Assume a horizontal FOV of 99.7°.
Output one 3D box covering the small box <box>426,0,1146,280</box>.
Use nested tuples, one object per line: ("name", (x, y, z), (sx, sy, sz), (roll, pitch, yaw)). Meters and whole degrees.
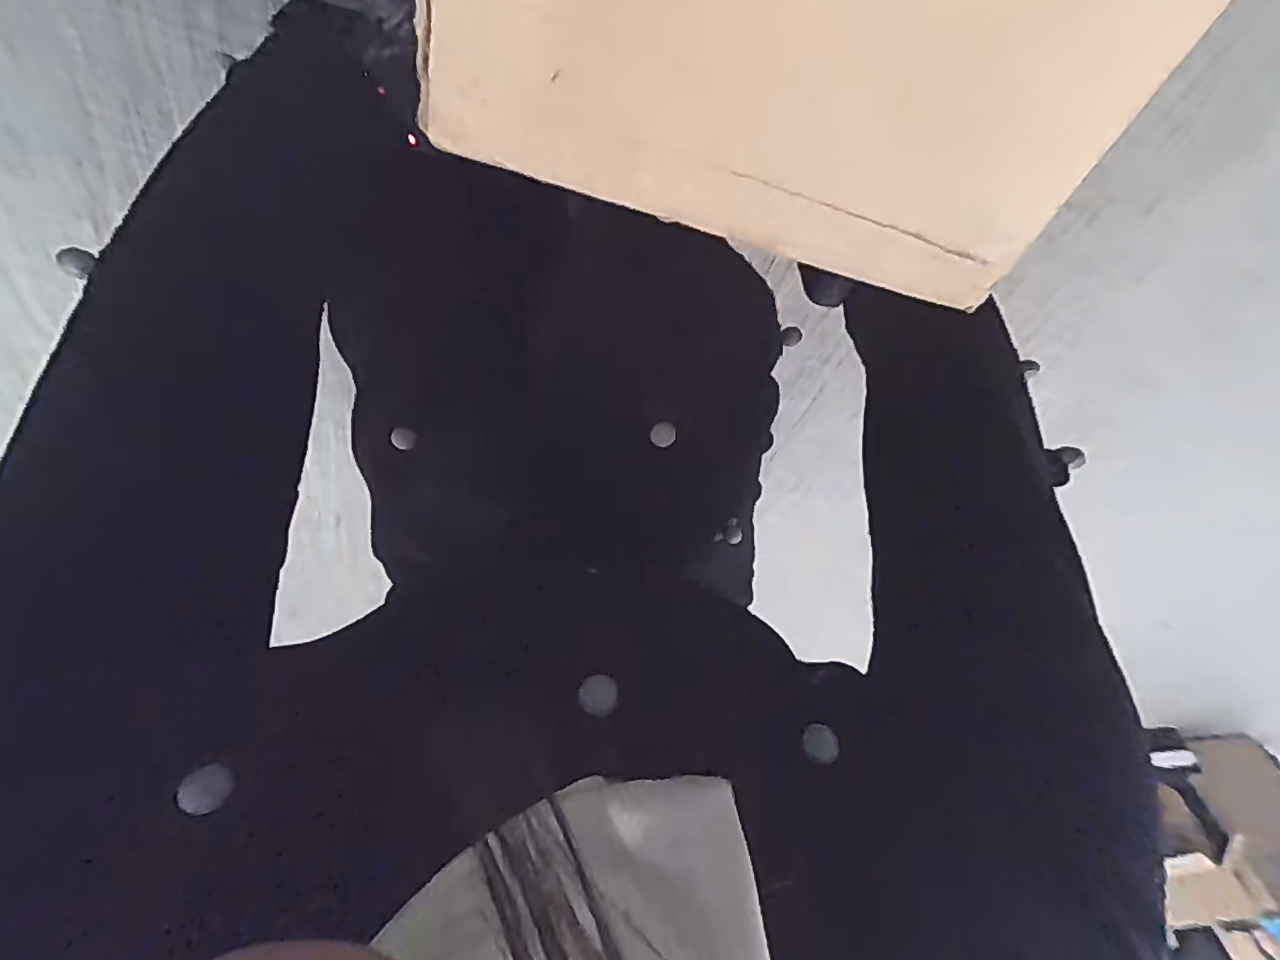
("small box", (0.044, -0.198, 0.172), (0.179, 0.176, 0.168), (10, 135, -17))
